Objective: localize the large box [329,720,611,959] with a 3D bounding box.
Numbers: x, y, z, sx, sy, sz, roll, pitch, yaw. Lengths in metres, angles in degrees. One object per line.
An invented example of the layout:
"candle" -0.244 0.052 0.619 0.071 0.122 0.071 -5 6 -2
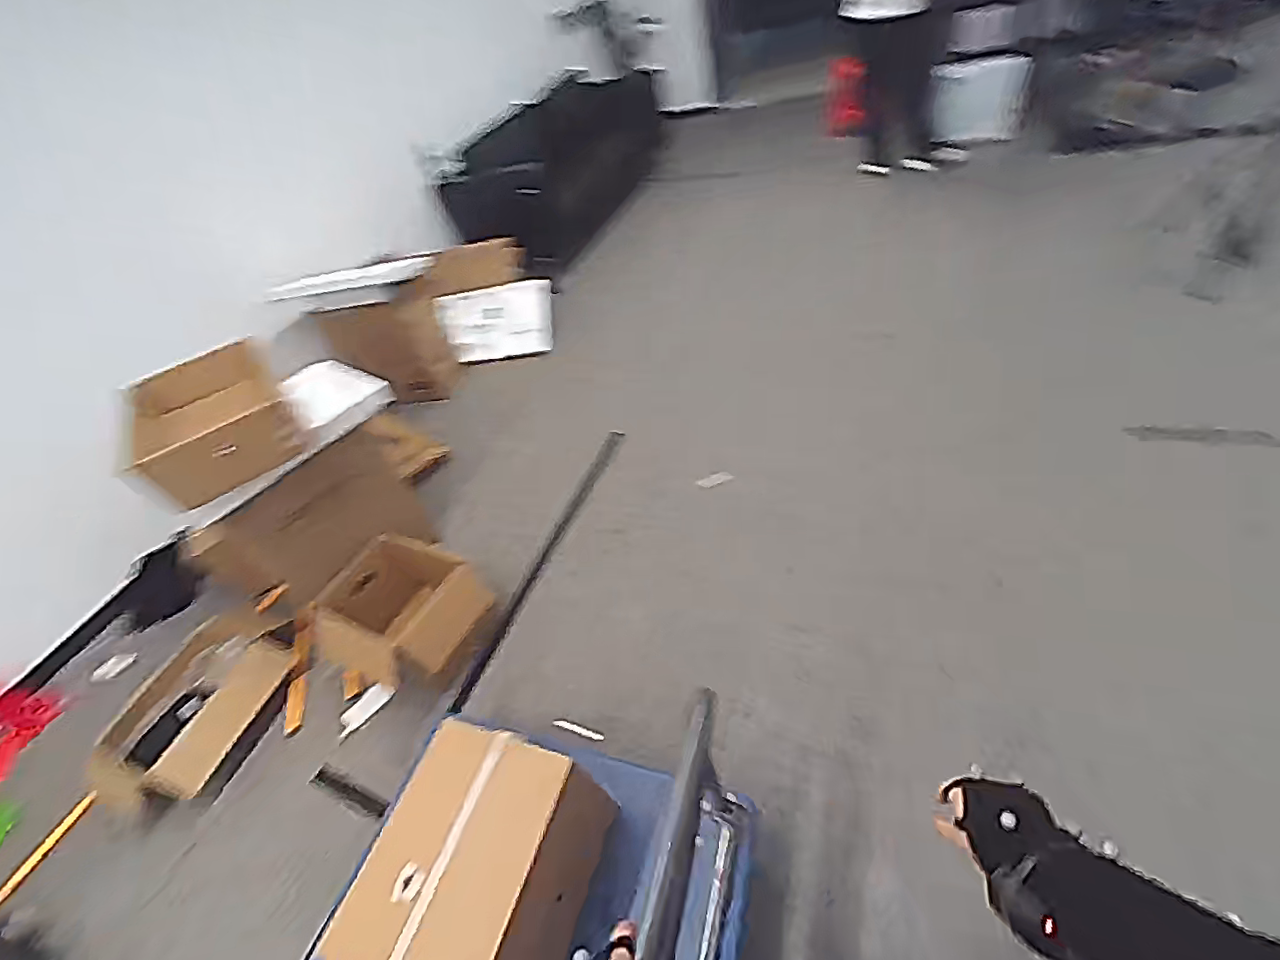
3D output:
"large box" -0.292 0.759 1.073 0.320 0.320 0.408 4 49 23
